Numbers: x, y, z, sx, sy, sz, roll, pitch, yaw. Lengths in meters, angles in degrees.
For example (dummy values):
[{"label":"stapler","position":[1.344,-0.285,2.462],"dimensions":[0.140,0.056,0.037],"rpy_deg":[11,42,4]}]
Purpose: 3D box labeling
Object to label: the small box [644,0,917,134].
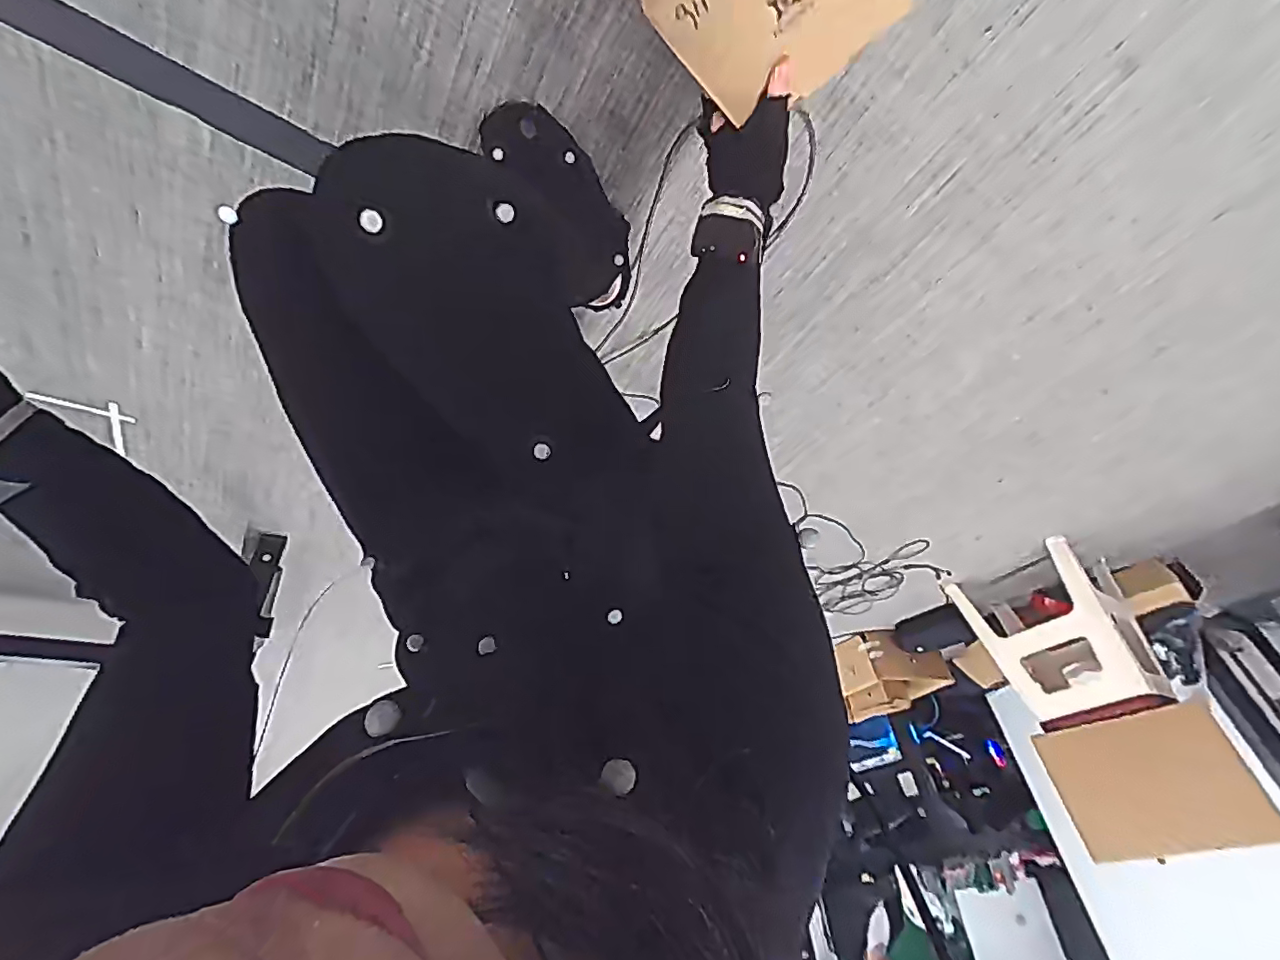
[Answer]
[{"label":"small box","position":[0.101,-0.446,0.441],"dimensions":[0.168,0.176,0.179],"rpy_deg":[-22,166,35]}]
